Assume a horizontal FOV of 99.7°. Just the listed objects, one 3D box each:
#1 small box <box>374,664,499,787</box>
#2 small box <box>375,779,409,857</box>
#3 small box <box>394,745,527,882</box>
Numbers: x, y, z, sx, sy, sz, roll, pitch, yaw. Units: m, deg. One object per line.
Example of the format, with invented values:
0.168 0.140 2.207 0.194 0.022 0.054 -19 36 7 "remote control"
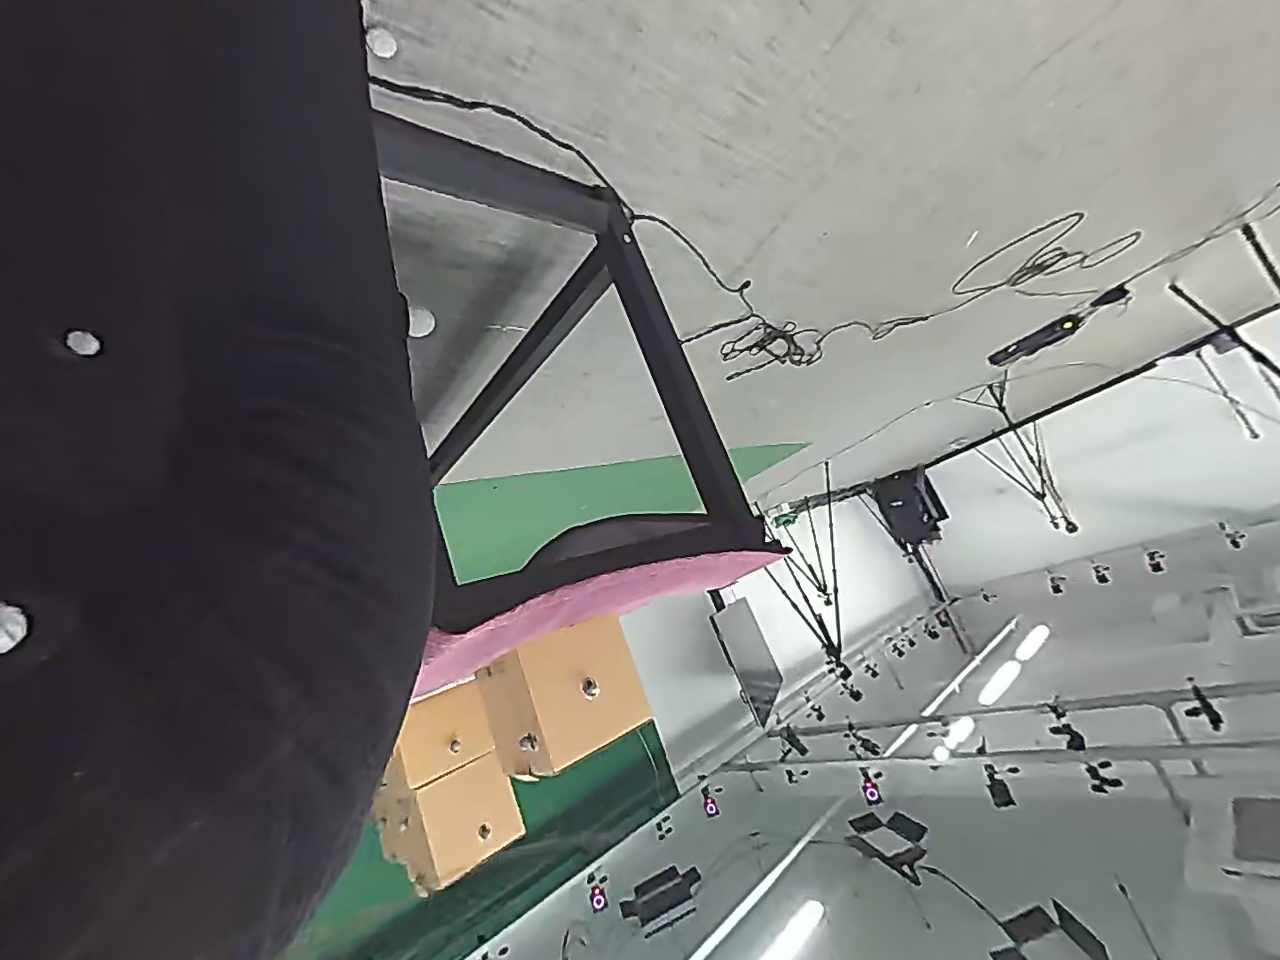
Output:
-0.418 0.494 1.097 0.179 0.176 0.168 -10 163 -41 "small box"
-0.516 0.768 1.302 0.179 0.176 0.168 -7 161 -43 "small box"
-0.356 0.644 1.065 0.179 0.176 0.168 -8 161 -44 "small box"
